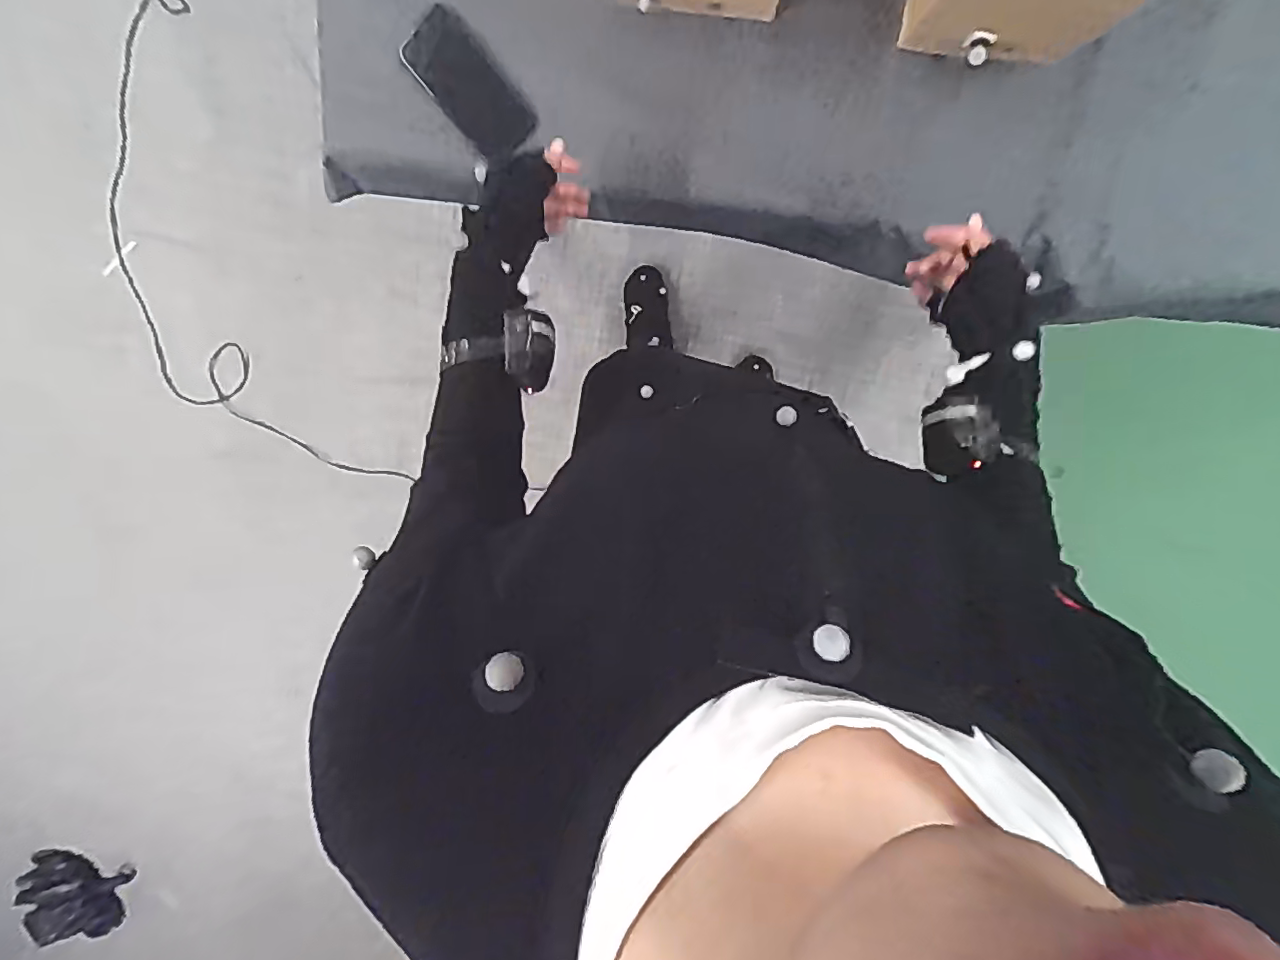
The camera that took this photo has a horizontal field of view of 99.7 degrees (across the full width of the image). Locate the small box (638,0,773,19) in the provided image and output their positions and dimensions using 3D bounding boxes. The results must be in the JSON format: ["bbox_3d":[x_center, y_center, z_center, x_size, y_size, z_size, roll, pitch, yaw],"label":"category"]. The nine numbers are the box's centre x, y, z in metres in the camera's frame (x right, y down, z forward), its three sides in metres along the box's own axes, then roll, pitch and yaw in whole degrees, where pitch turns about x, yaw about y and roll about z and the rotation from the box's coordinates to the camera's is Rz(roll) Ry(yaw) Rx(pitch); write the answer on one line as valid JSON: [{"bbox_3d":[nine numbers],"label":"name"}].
[{"bbox_3d":[0.059,-0.547,0.469,0.168,0.176,0.179,7,107,1],"label":"small box"}]

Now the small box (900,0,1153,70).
[{"bbox_3d":[0.350,-0.496,0.466,0.168,0.176,0.179,7,109,3],"label":"small box"}]
